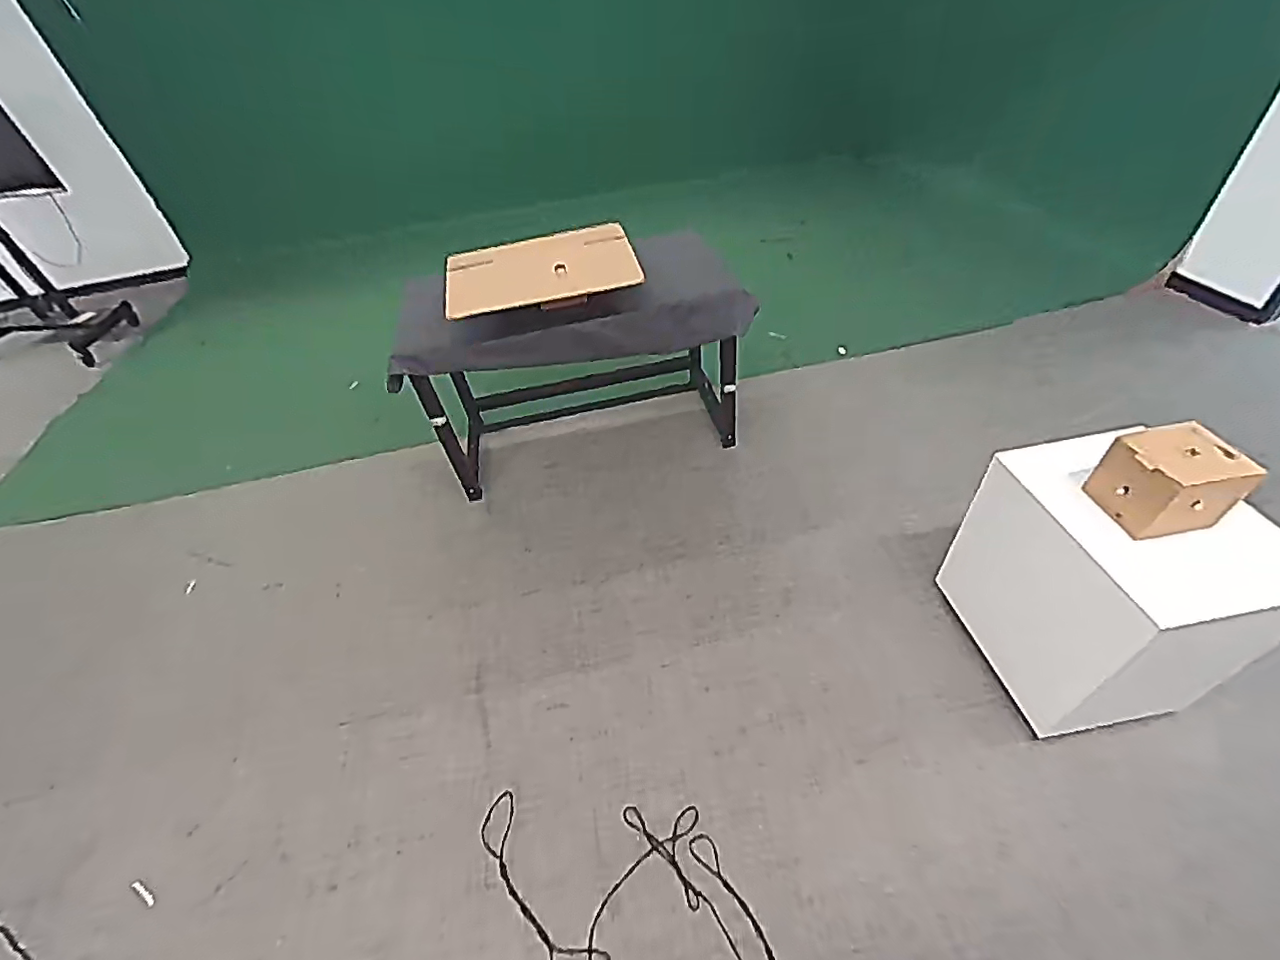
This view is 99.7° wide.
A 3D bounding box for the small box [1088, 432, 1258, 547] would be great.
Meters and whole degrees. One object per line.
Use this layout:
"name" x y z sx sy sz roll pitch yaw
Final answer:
"small box" 1.114 0.024 1.156 0.179 0.176 0.168 -11 43 -4
